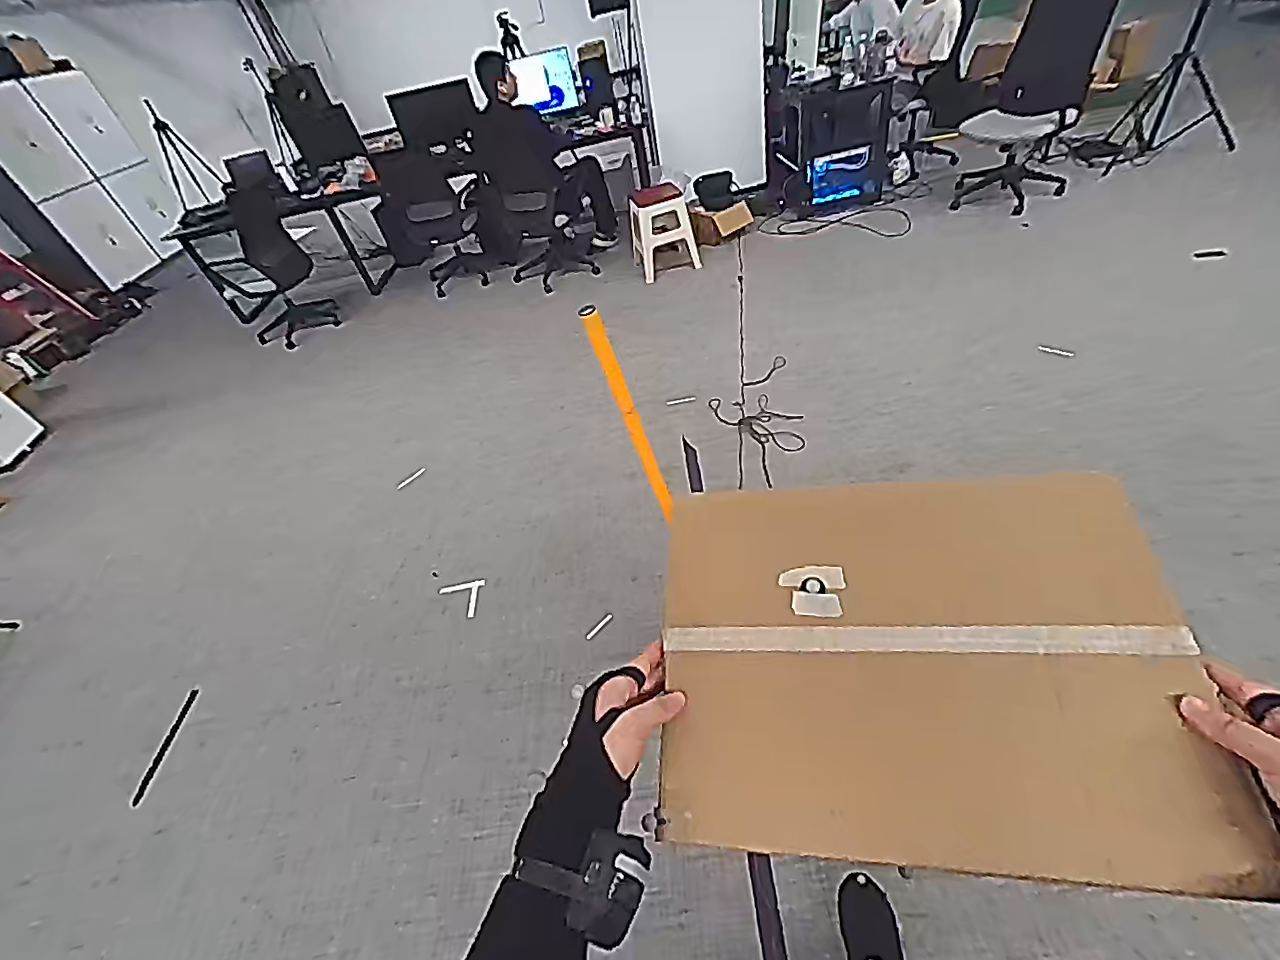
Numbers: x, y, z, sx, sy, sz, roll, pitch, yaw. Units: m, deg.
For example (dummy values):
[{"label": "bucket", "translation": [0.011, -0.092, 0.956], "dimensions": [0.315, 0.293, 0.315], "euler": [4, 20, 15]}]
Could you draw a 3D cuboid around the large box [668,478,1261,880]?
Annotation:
[{"label": "large box", "translation": [0.260, 0.222, 0.595], "dimensions": [0.408, 0.320, 0.320], "euler": [-5, 56, 14]}]
